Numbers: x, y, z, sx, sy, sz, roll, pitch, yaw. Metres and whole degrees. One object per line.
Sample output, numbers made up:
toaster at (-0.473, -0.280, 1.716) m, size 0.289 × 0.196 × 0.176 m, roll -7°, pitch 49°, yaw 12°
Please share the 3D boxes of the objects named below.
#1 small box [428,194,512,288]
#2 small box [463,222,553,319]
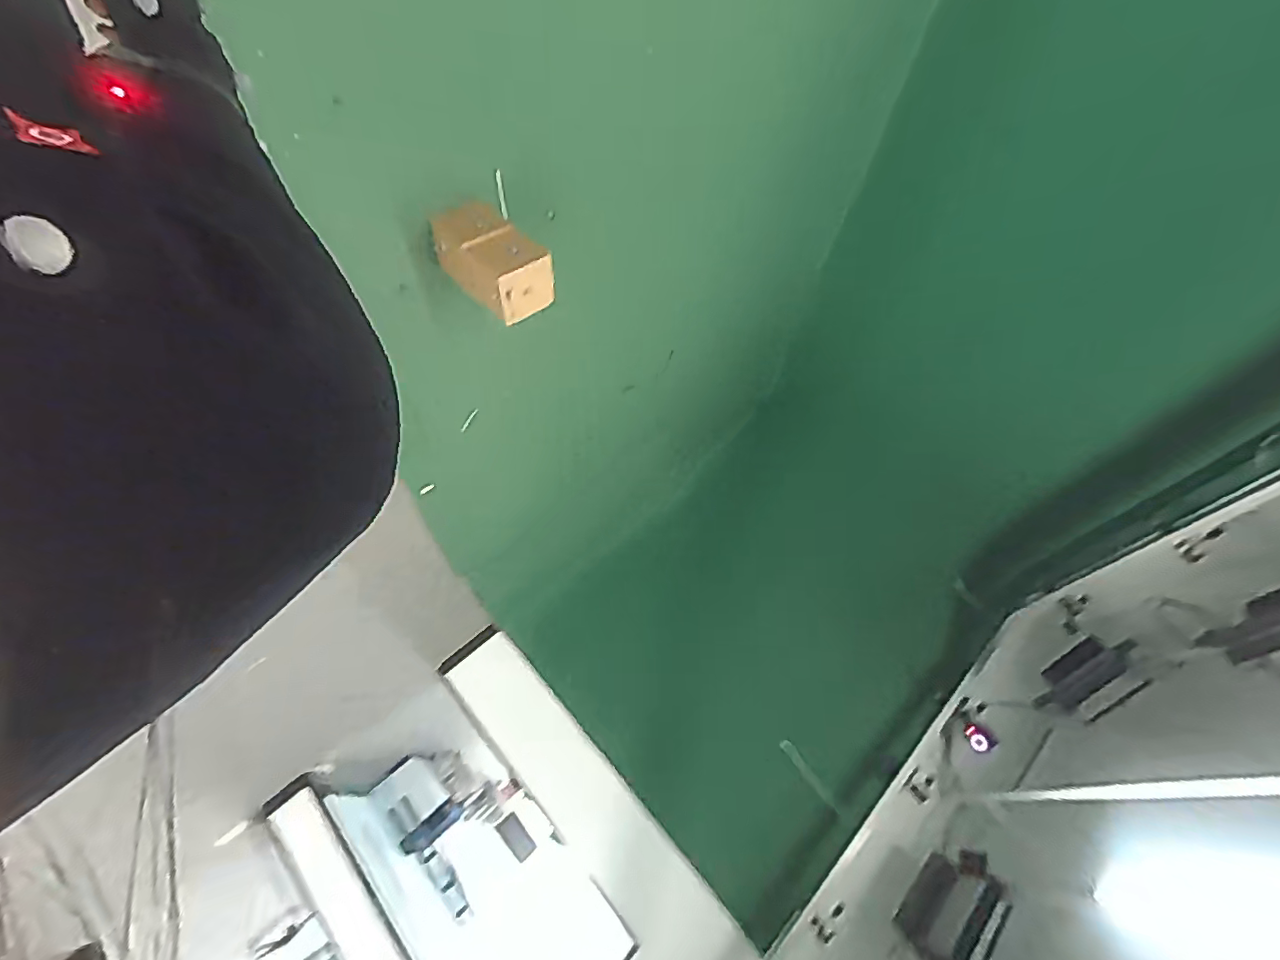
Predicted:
small box at (-0.488, -0.709, 1.592) m, size 0.179 × 0.176 × 0.168 m, roll -36°, pitch 156°, yaw -24°
small box at (-0.373, -0.602, 1.544) m, size 0.179 × 0.176 × 0.168 m, roll -38°, pitch 157°, yaw -25°
